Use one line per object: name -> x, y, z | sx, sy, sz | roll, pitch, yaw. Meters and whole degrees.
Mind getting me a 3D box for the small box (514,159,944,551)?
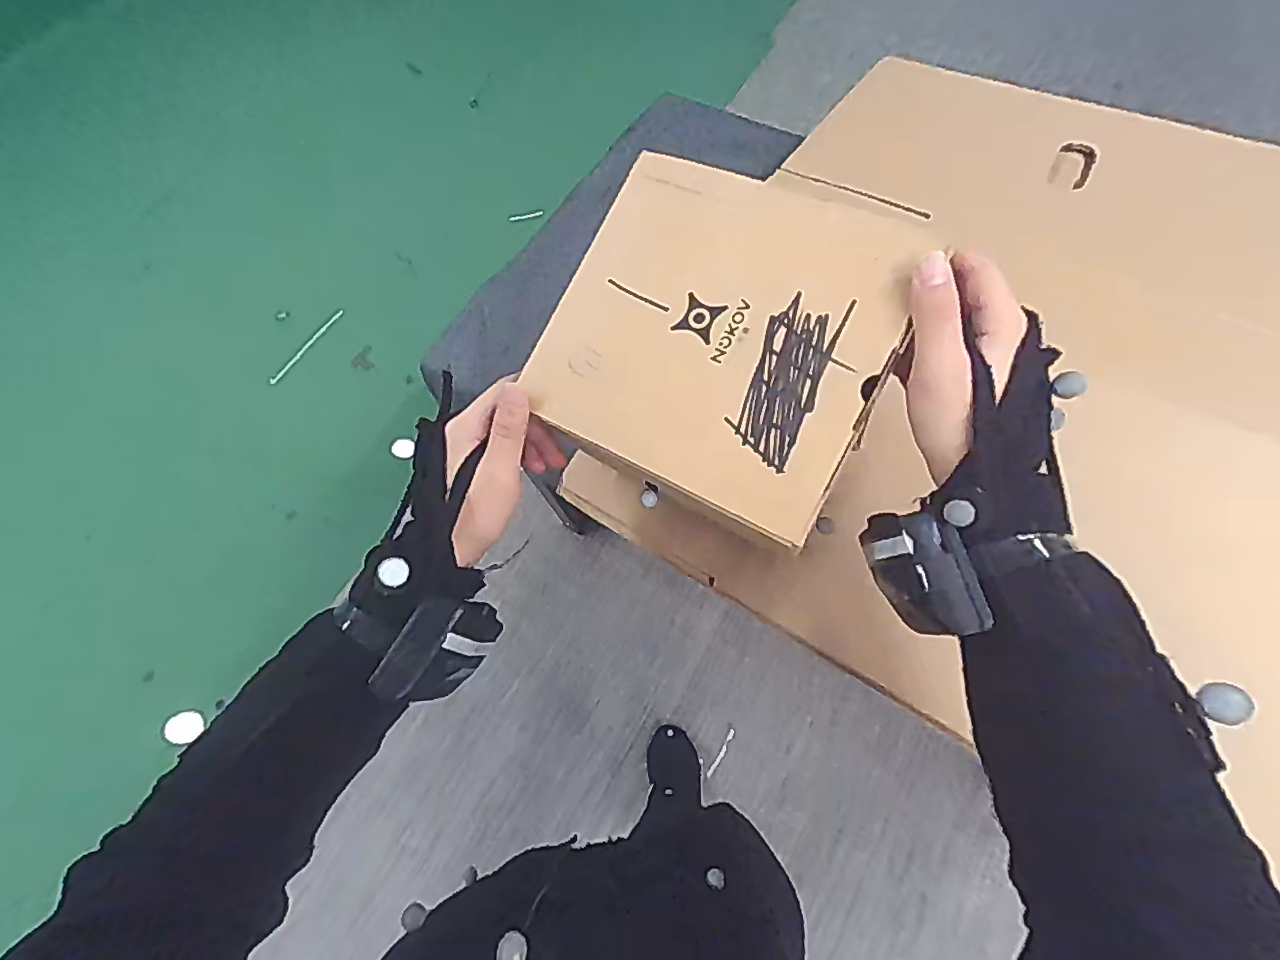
small box -> 0.058, -0.063, 0.358 | 0.179, 0.176, 0.168 | 27, 88, 19
